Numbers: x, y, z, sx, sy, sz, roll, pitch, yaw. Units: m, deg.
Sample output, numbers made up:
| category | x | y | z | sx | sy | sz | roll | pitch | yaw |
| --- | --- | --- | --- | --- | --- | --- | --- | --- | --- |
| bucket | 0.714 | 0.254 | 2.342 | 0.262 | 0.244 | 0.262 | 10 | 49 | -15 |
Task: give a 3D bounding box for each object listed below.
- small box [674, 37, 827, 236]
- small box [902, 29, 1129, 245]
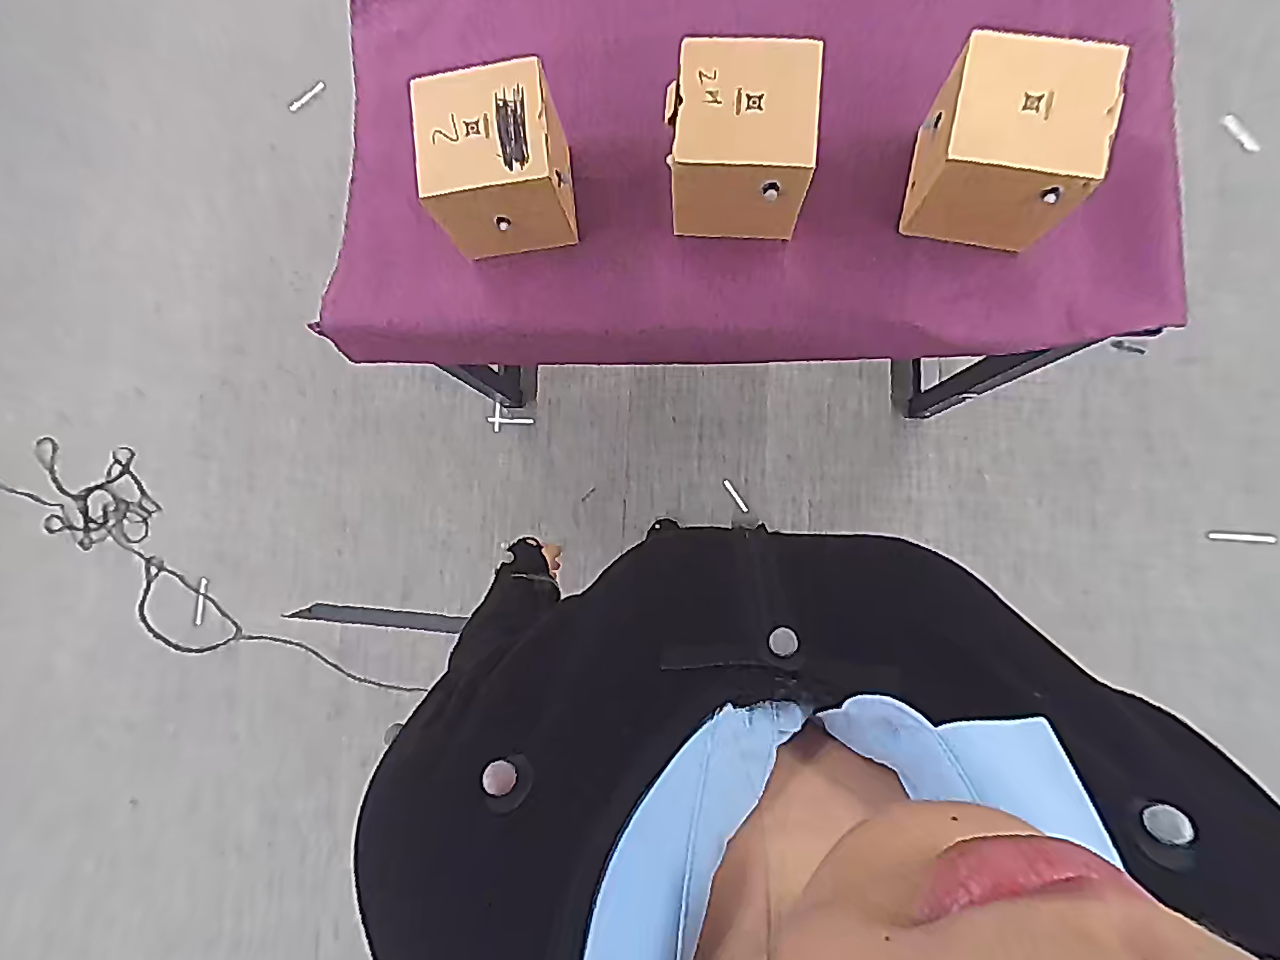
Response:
| category | x | y | z | sx | sy | sz | roll | pitch | yaw |
| --- | --- | --- | --- | --- | --- | --- | --- | --- | --- |
| small box | 0.141 | -0.454 | 0.738 | 0.179 | 0.176 | 0.168 | 4 | 85 | 6 |
| small box | 0.469 | -0.432 | 0.705 | 0.179 | 0.176 | 0.168 | 12 | 87 | 7 |
